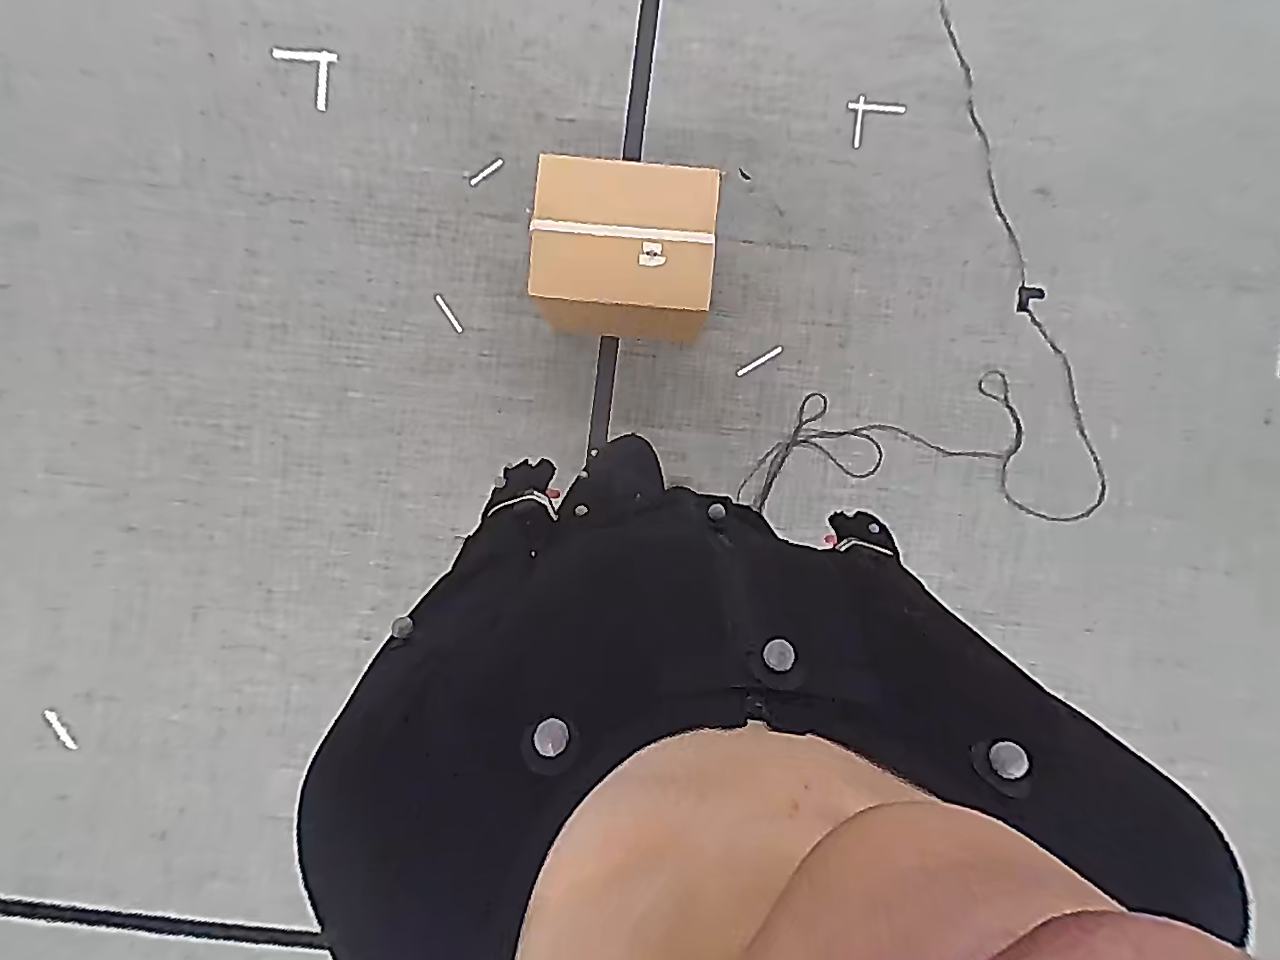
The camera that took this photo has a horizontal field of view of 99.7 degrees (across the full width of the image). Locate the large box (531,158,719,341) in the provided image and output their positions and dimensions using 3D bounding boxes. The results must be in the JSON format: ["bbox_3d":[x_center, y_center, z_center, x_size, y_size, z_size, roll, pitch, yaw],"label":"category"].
[{"bbox_3d":[-0.037,-0.546,1.341,0.408,0.320,0.320,5,91,-1],"label":"large box"}]
